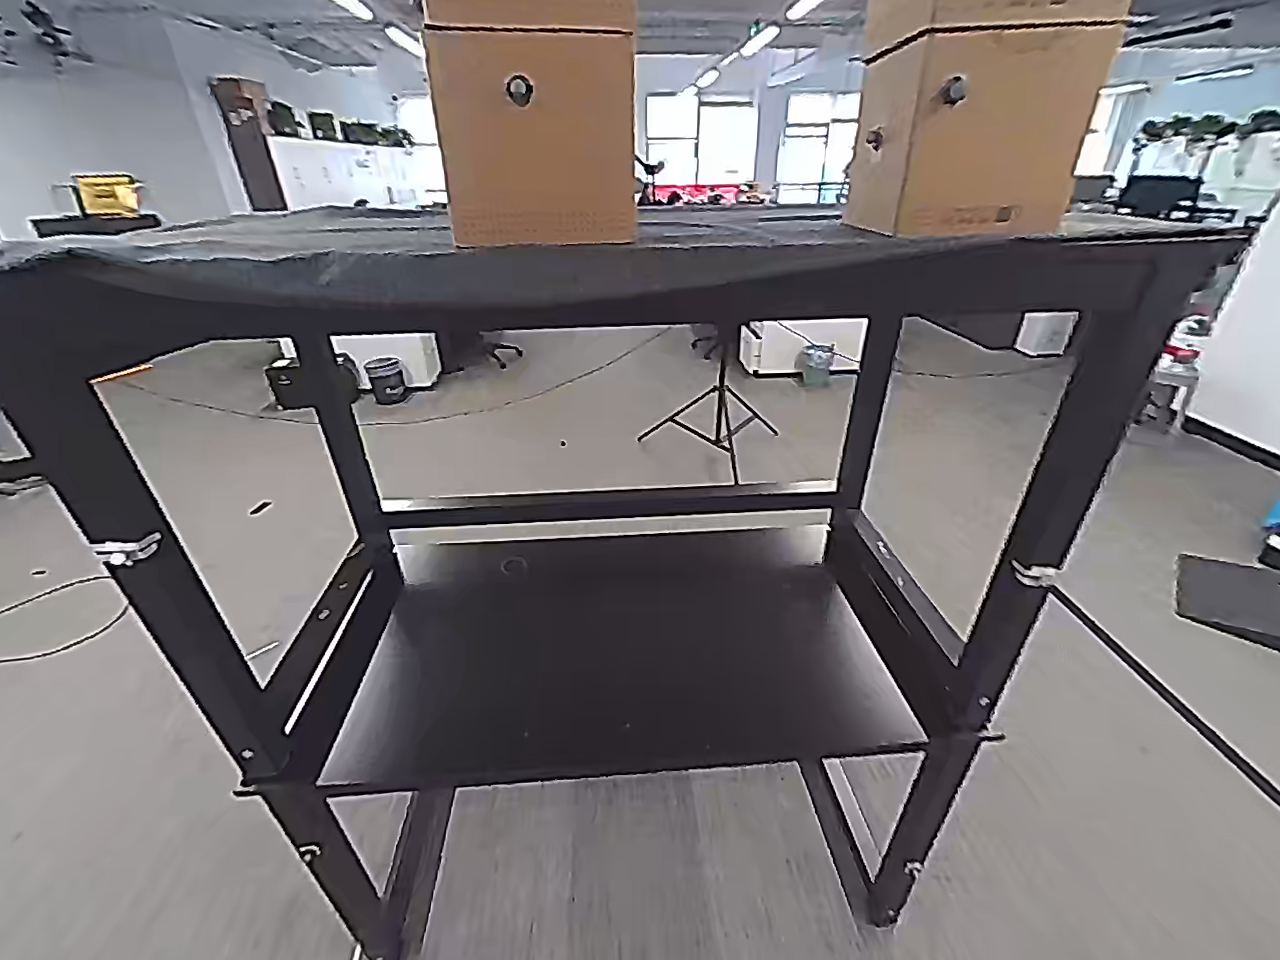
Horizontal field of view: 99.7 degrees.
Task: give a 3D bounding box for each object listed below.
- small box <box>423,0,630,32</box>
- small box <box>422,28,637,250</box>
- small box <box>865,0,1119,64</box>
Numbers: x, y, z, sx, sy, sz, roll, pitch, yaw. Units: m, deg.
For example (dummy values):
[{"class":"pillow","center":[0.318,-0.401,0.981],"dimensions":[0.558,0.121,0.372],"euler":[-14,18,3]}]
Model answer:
[{"class":"small box","center":[-0.105,-0.480,0.484],"dimensions":[0.179,0.176,0.168],"euler":[-8,28,-9]},{"class":"small box","center":[-0.099,-0.333,0.554],"dimensions":[0.179,0.176,0.168],"euler":[-4,29,-6]},{"class":"small box","center":[0.326,-0.503,0.498],"dimensions":[0.168,0.176,0.179],"euler":[-2,29,1]}]
